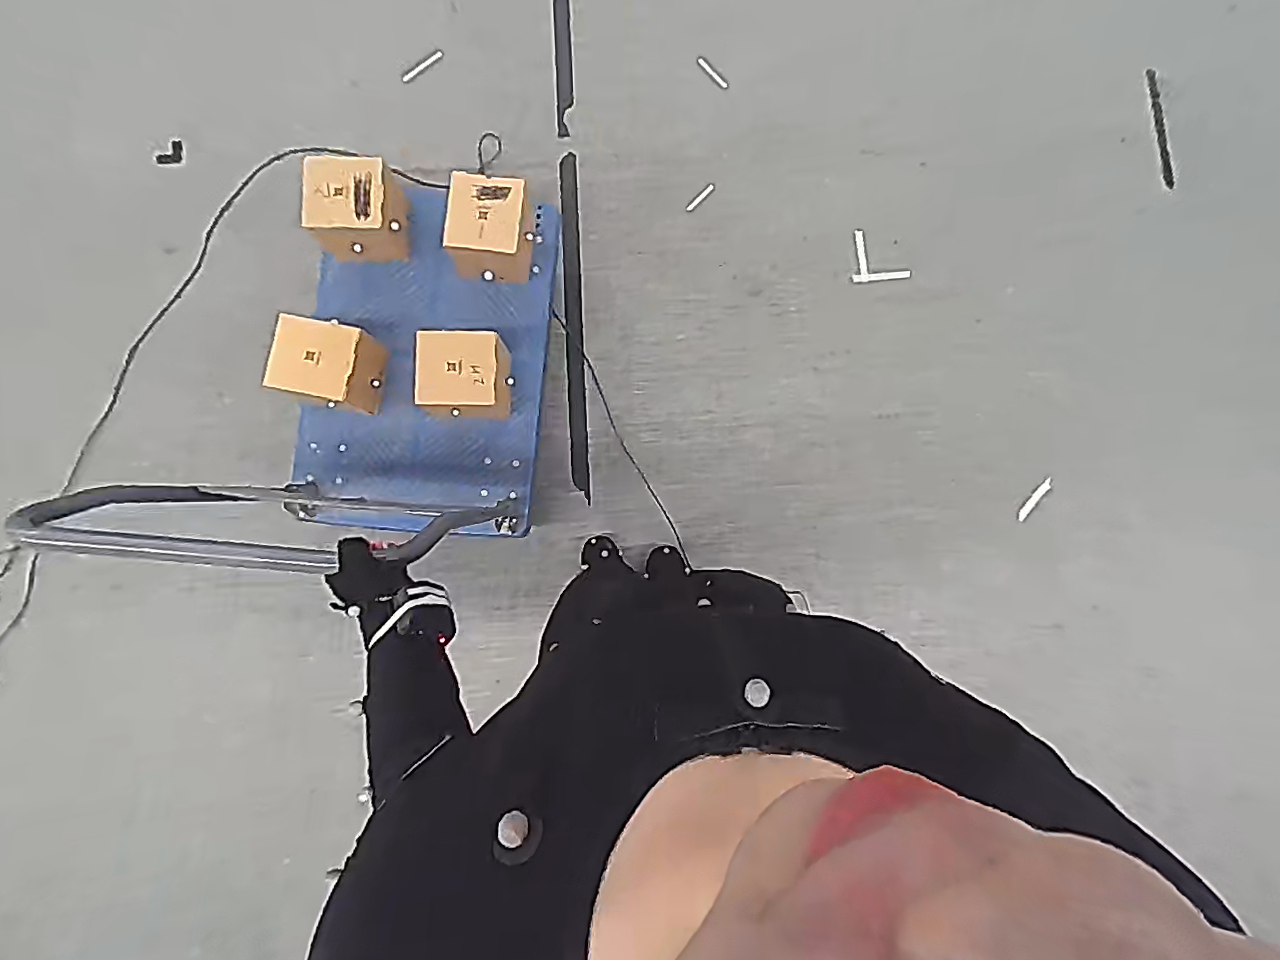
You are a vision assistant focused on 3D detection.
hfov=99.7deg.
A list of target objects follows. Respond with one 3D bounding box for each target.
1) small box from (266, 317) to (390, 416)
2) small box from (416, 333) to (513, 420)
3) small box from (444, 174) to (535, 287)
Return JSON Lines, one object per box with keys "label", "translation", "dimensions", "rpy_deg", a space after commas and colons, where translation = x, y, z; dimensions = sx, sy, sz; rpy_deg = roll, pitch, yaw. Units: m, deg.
{"label": "small box", "translation": [-0.709, -0.253, 1.248], "dimensions": [0.179, 0.176, 0.168], "rpy_deg": [10, 85, -3]}
{"label": "small box", "translation": [-0.402, -0.234, 1.259], "dimensions": [0.179, 0.176, 0.168], "rpy_deg": [0, 86, -2]}
{"label": "small box", "translation": [-0.350, -0.587, 1.288], "dimensions": [0.168, 0.176, 0.179], "rpy_deg": [6, 87, -2]}
